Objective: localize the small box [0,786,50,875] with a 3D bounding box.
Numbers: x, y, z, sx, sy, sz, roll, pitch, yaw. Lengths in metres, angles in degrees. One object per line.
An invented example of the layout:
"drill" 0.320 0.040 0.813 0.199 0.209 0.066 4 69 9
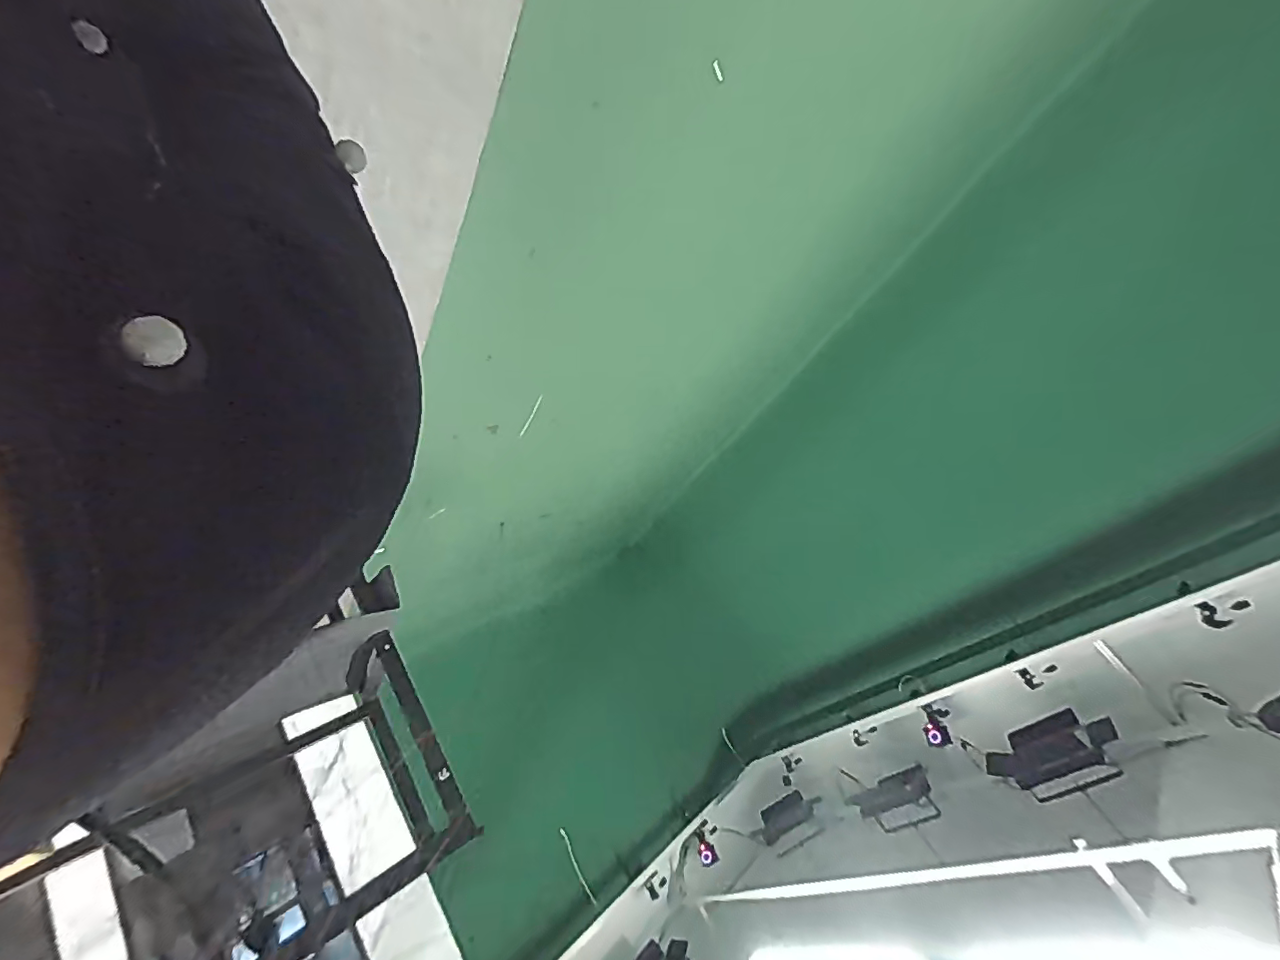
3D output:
"small box" -1.623 0.888 1.336 0.168 0.176 0.179 -20 159 -37
